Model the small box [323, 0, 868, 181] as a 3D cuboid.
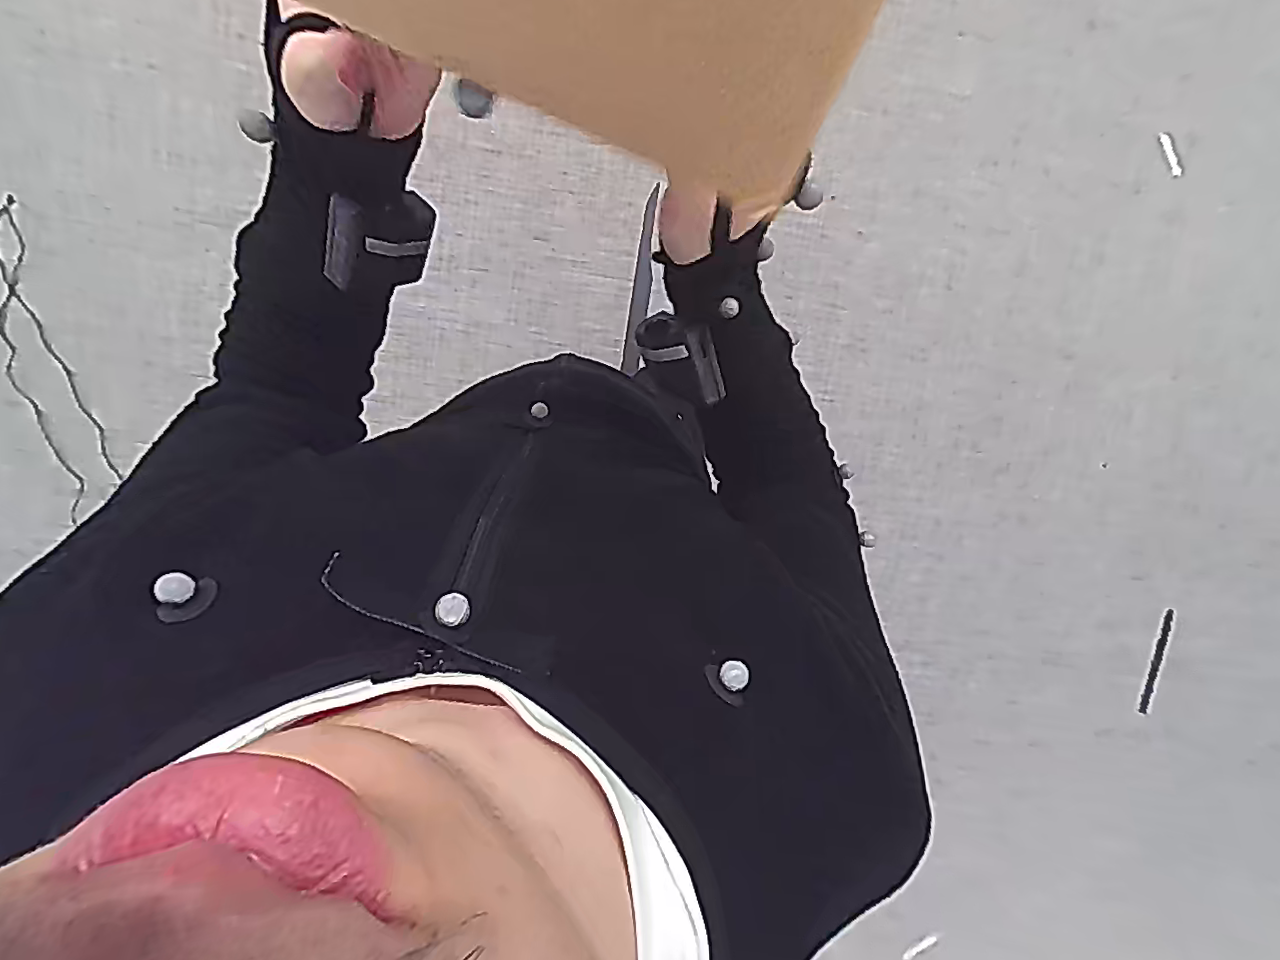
[{"bbox_3d":[-0.012,-0.214,0.154,0.179,0.176,0.168,16,127,-9],"label":"small box"}]
